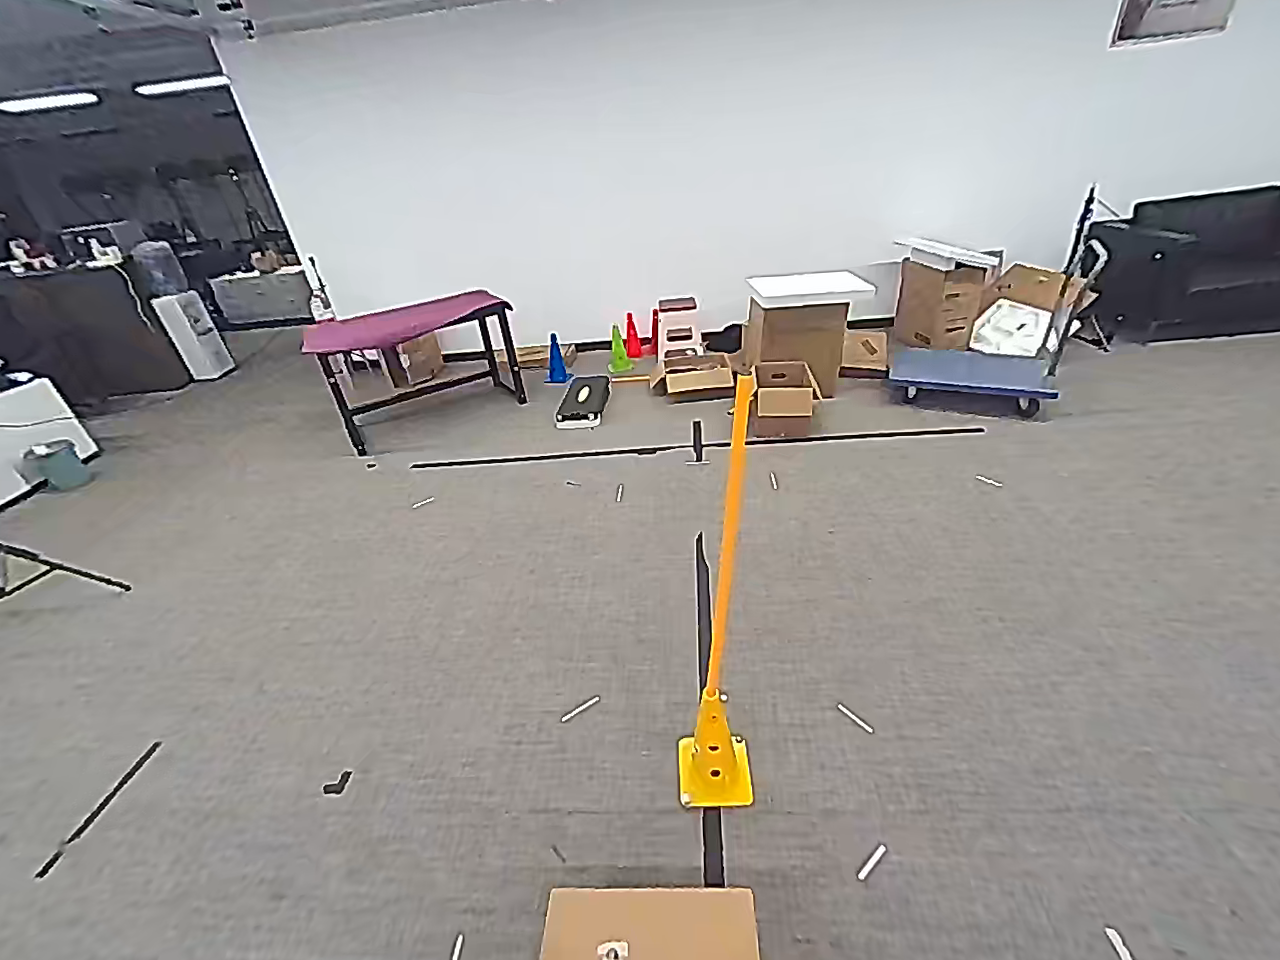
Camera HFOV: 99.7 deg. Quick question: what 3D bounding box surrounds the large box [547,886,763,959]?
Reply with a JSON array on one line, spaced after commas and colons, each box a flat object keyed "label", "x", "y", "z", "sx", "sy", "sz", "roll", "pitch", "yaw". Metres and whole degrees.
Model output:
[{"label": "large box", "x": 0.042, "y": 1.022, "z": 1.025, "sx": 0.408, "sy": 0.320, "sz": 0.320, "roll": -5, "pitch": 30, "yaw": 5}]
